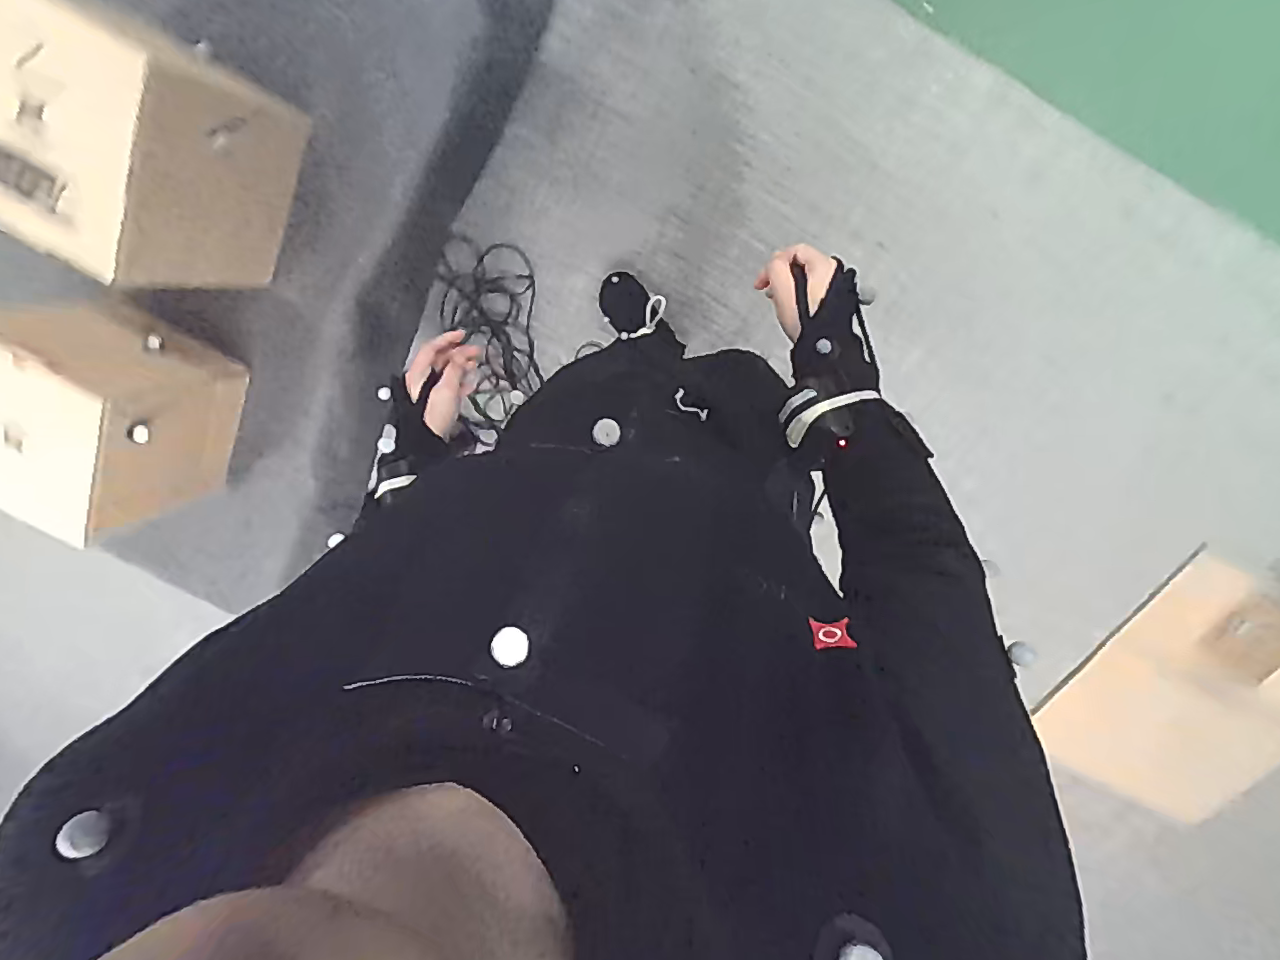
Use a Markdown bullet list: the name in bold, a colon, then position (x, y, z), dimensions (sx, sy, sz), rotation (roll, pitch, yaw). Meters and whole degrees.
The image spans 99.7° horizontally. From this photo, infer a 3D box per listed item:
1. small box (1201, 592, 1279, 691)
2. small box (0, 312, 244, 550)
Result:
- **small box**: position (1.493, 0.388, 1.250), dimensions (0.179, 0.176, 0.168), rotation (27, 110, -2)
- **small box**: position (-0.574, -0.062, 0.582), dimensions (0.168, 0.176, 0.179), rotation (28, 110, -3)
